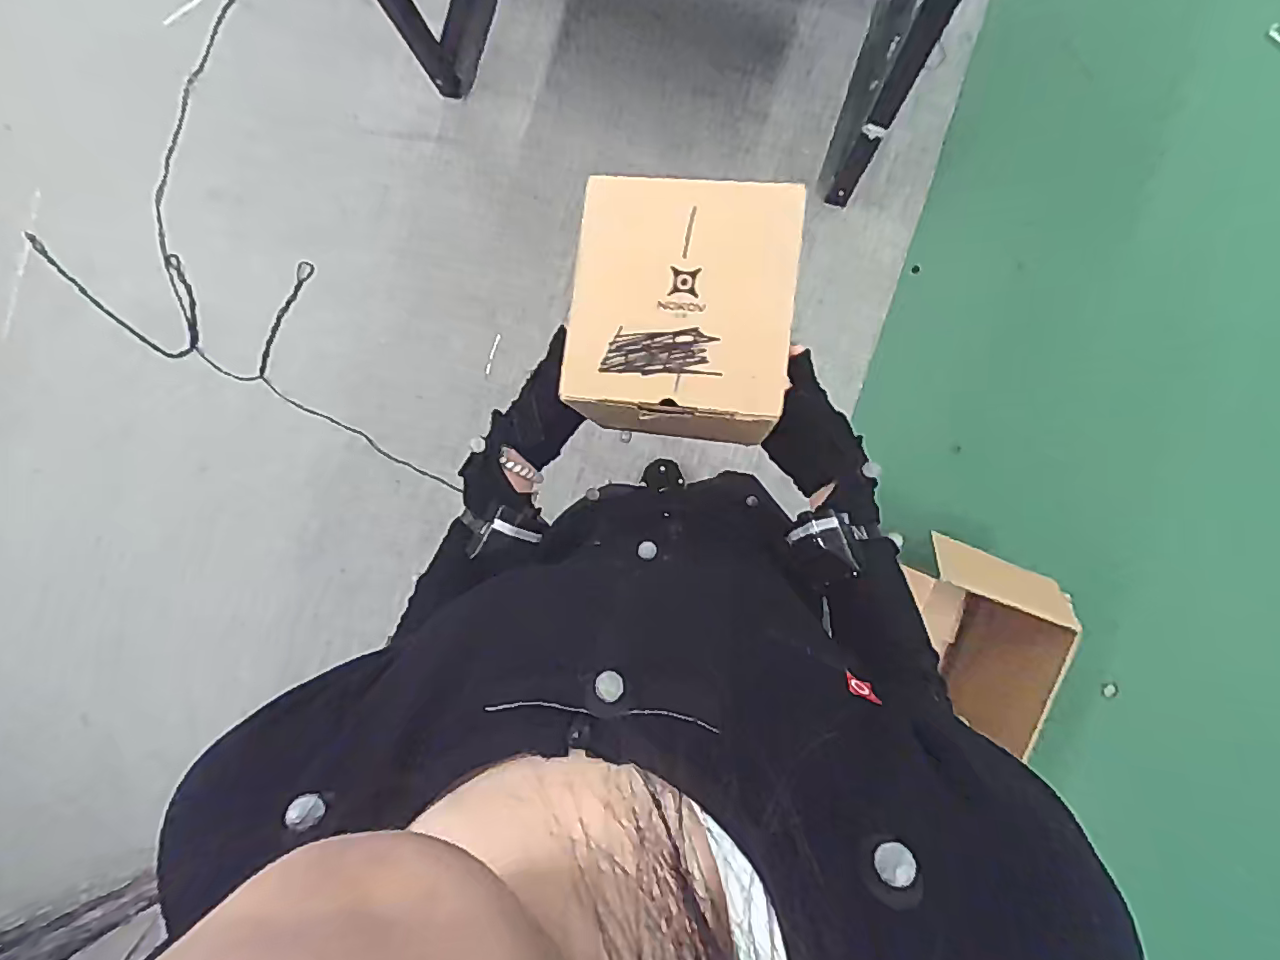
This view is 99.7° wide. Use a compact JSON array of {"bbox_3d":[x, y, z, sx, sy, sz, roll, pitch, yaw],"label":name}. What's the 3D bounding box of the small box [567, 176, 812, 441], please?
[{"bbox_3d":[0.044,-0.134,0.482,0.168,0.176,0.179,7,88,6],"label":"small box"}]
